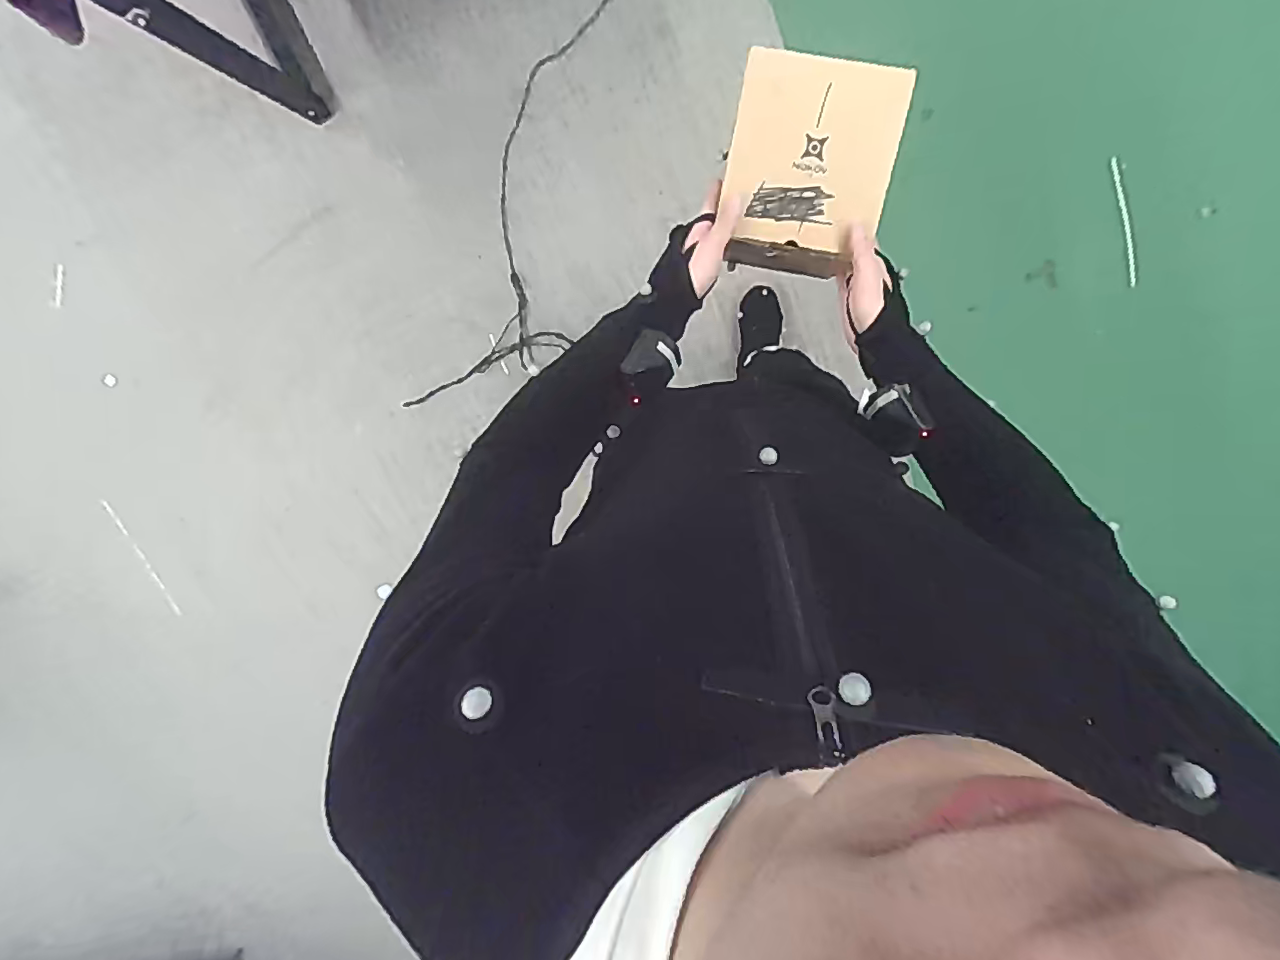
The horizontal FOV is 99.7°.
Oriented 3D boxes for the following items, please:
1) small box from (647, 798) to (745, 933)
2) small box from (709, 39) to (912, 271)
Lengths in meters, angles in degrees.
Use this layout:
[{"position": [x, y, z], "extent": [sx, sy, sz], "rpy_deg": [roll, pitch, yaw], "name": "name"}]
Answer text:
[{"position": [0.122, 0.827, 1.178], "extent": [0.168, 0.176, 0.179], "rpy_deg": [-16, 104, 10], "name": "small box"}, {"position": [0.175, -0.350, 0.620], "extent": [0.168, 0.176, 0.179], "rpy_deg": [11, 104, 2], "name": "small box"}]
